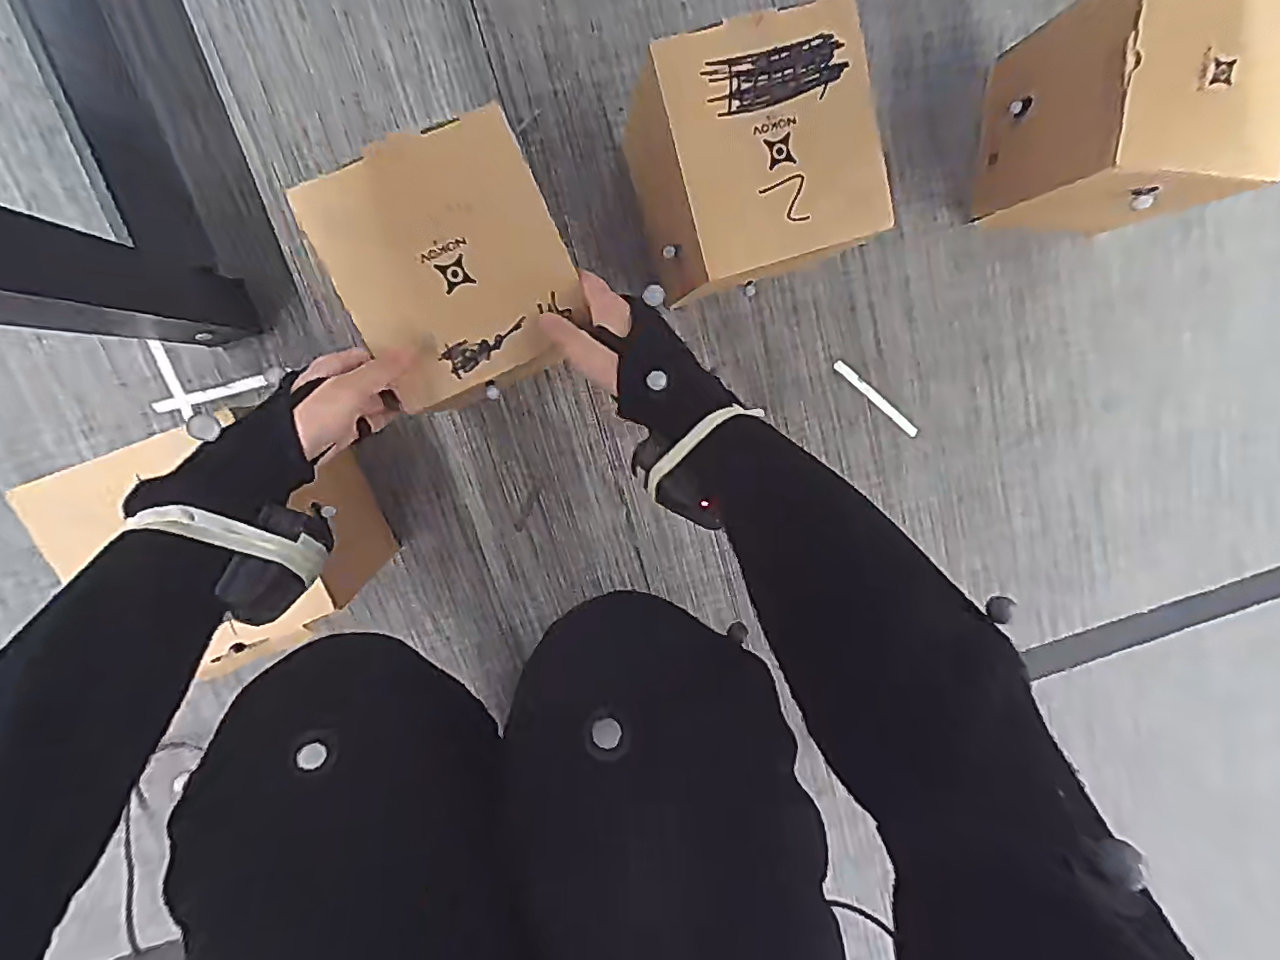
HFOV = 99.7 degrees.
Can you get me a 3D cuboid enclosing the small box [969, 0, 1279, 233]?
[{"bbox_3d":[0.478,-0.358,0.542,0.179,0.176,0.168,0,100,-8],"label":"small box"}]
